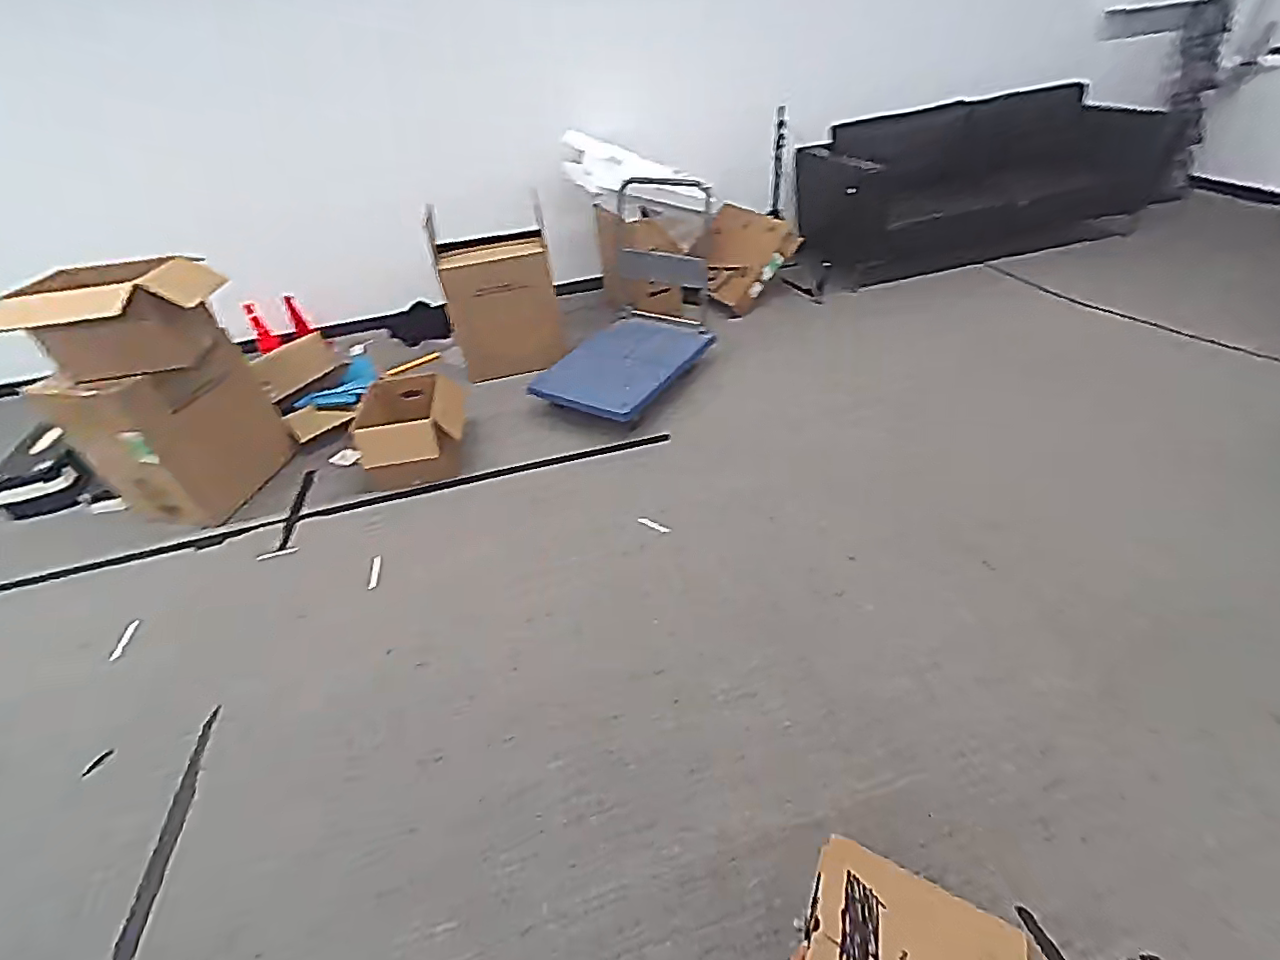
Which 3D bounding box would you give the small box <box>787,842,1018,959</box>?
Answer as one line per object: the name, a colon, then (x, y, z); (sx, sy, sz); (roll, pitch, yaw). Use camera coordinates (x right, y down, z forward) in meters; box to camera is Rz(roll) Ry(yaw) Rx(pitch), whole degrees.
small box: (0.225, 0.488, 0.495); (0.179, 0.176, 0.168); (12, 37, 25)
